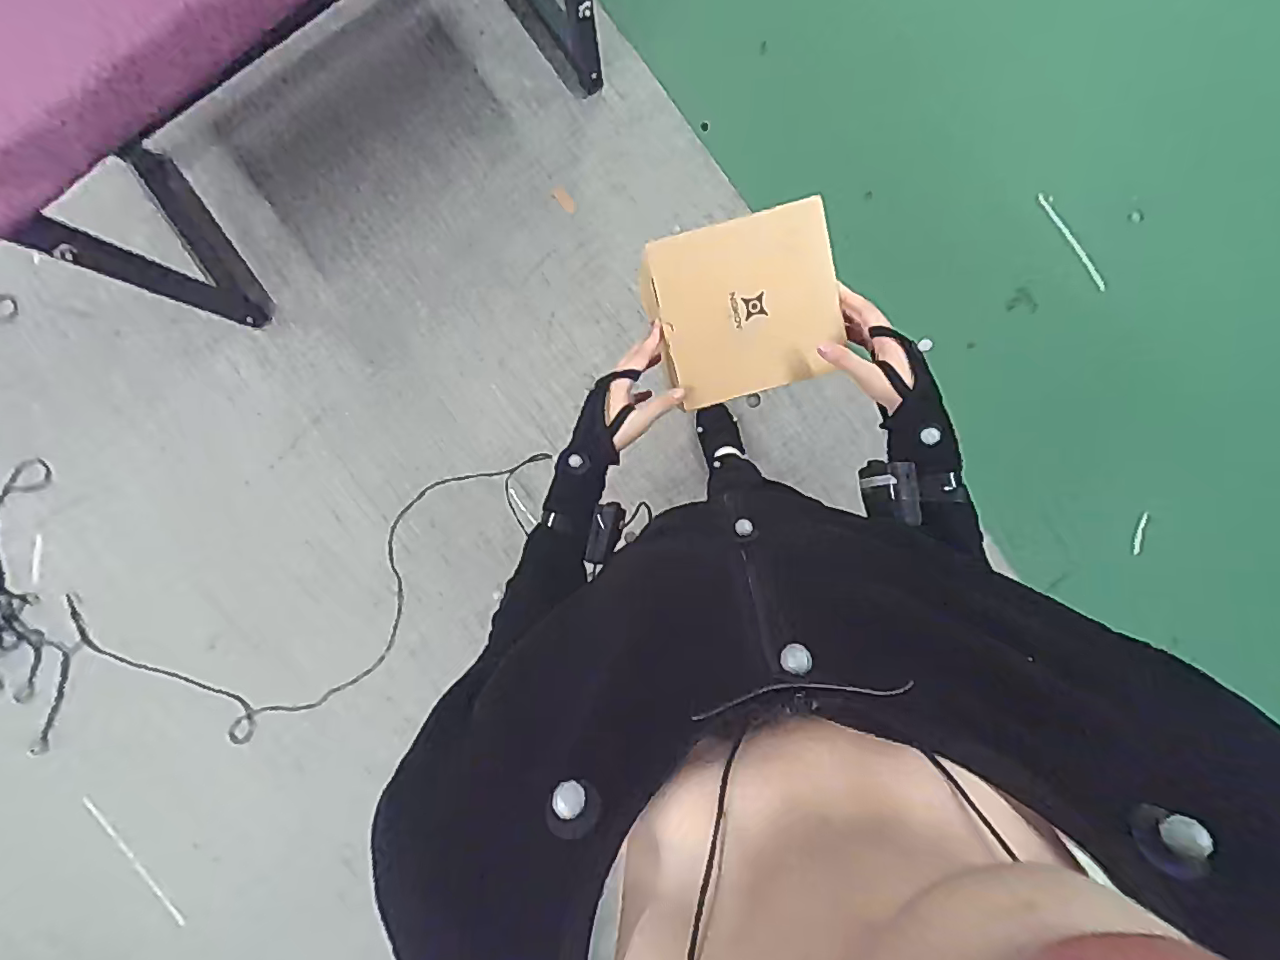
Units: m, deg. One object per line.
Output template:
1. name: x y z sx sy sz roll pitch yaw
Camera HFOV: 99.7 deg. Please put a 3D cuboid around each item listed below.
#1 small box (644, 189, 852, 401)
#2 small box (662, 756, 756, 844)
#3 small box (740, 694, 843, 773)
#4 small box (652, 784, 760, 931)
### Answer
1. small box: 0.107 -0.193 0.601 0.179 0.176 0.168 -15 102 3
2. small box: 0.168 0.858 1.390 0.179 0.176 0.168 -42 88 2
3. small box: 0.376 0.686 1.382 0.179 0.176 0.168 -41 88 3
4. small box: 0.143 0.844 1.227 0.168 0.176 0.179 -39 90 1
